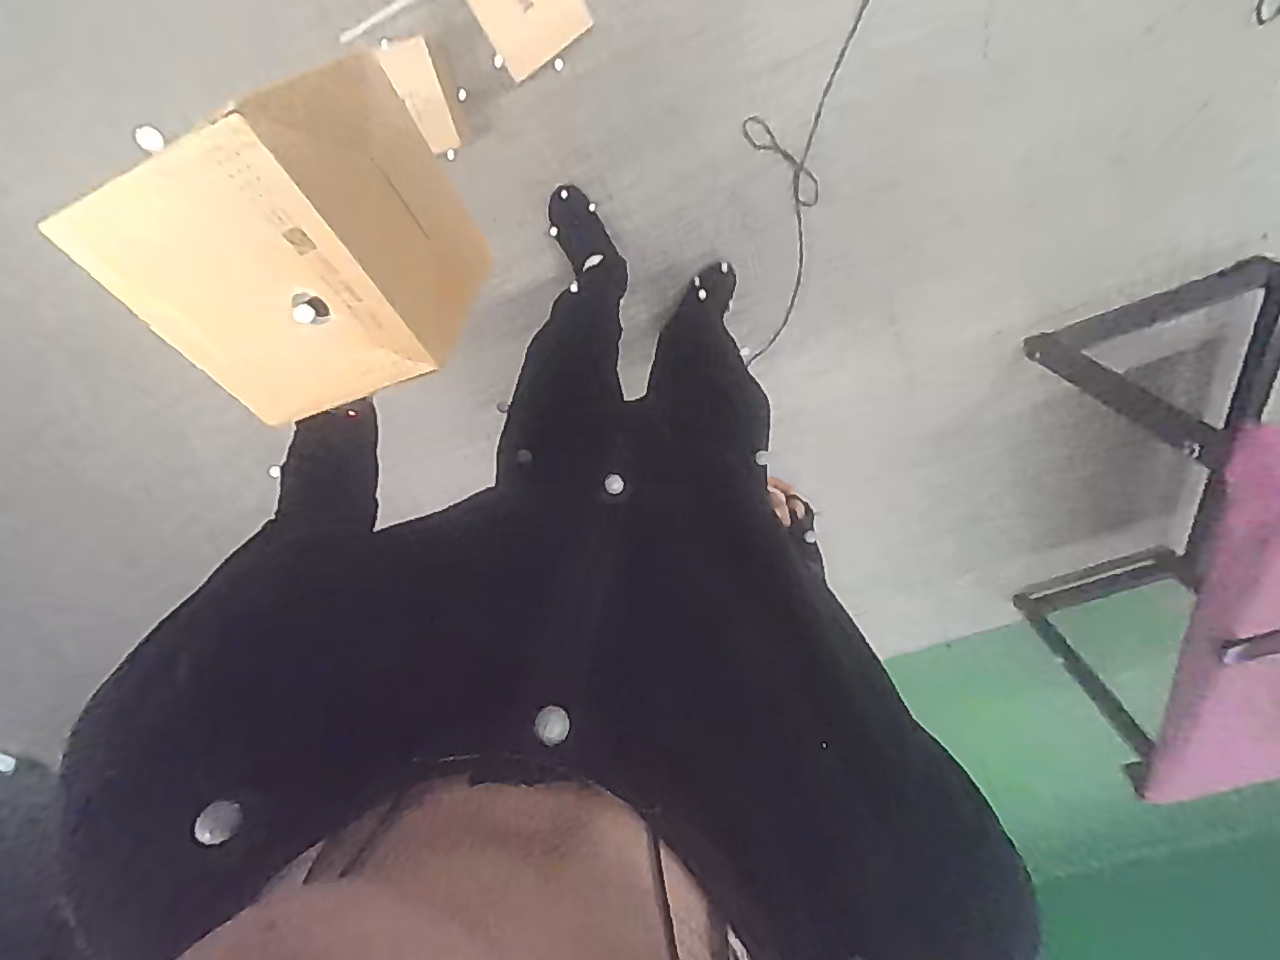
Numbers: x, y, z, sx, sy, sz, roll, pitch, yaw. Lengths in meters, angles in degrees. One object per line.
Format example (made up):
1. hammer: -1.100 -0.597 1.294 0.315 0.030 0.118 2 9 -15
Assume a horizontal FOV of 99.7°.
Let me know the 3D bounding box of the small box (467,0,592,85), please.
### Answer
1. small box: -0.194 -0.831 0.942 0.168 0.176 0.179 -27 123 15
